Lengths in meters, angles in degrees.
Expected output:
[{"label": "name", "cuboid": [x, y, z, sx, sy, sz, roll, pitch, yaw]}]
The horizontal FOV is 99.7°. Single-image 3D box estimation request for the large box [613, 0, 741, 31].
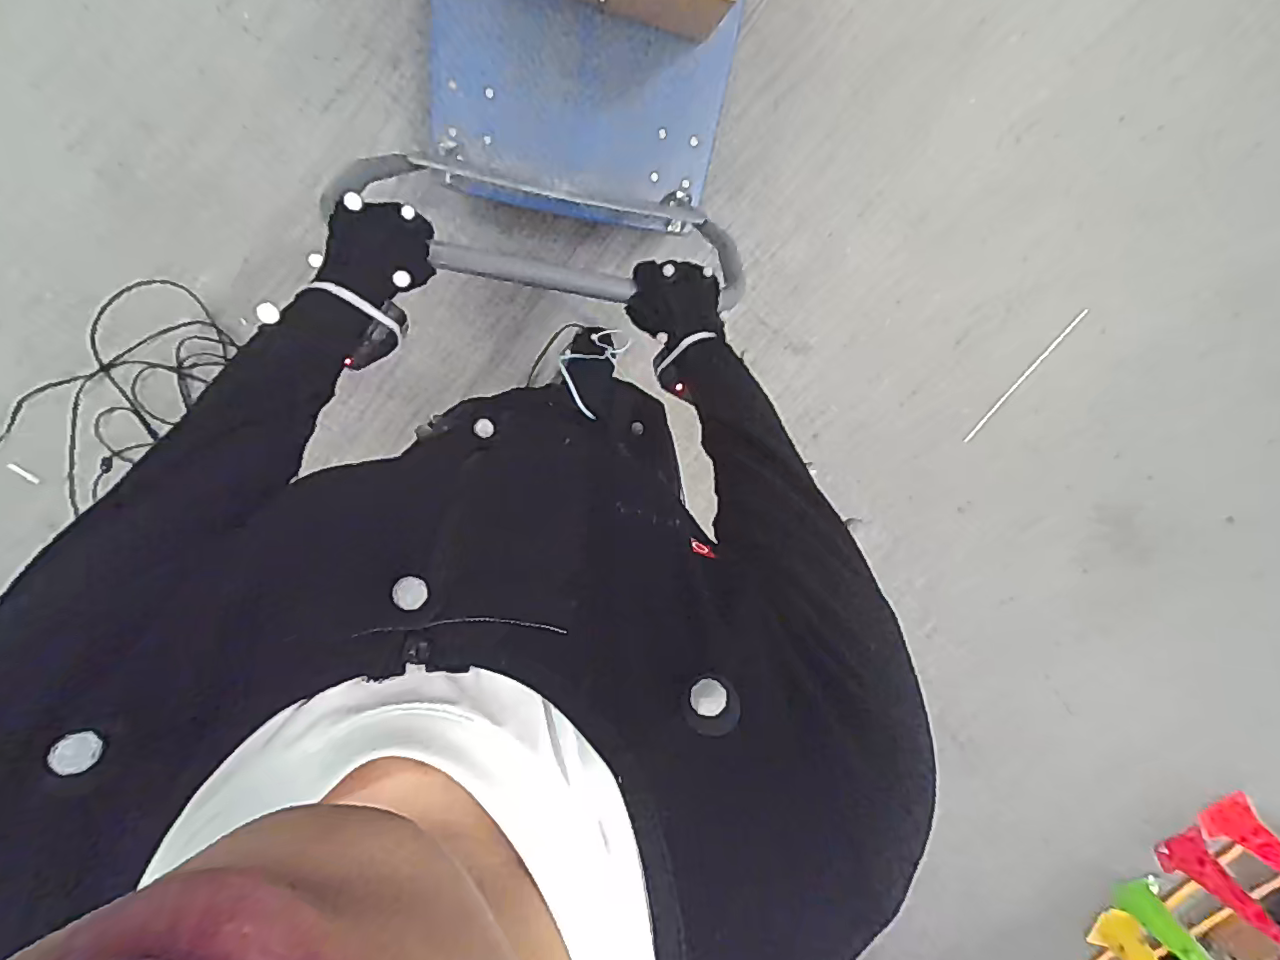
[{"label": "large box", "cuboid": [-0.007, -0.944, 0.810, 0.408, 0.320, 0.320, 11, 119, -9]}]
